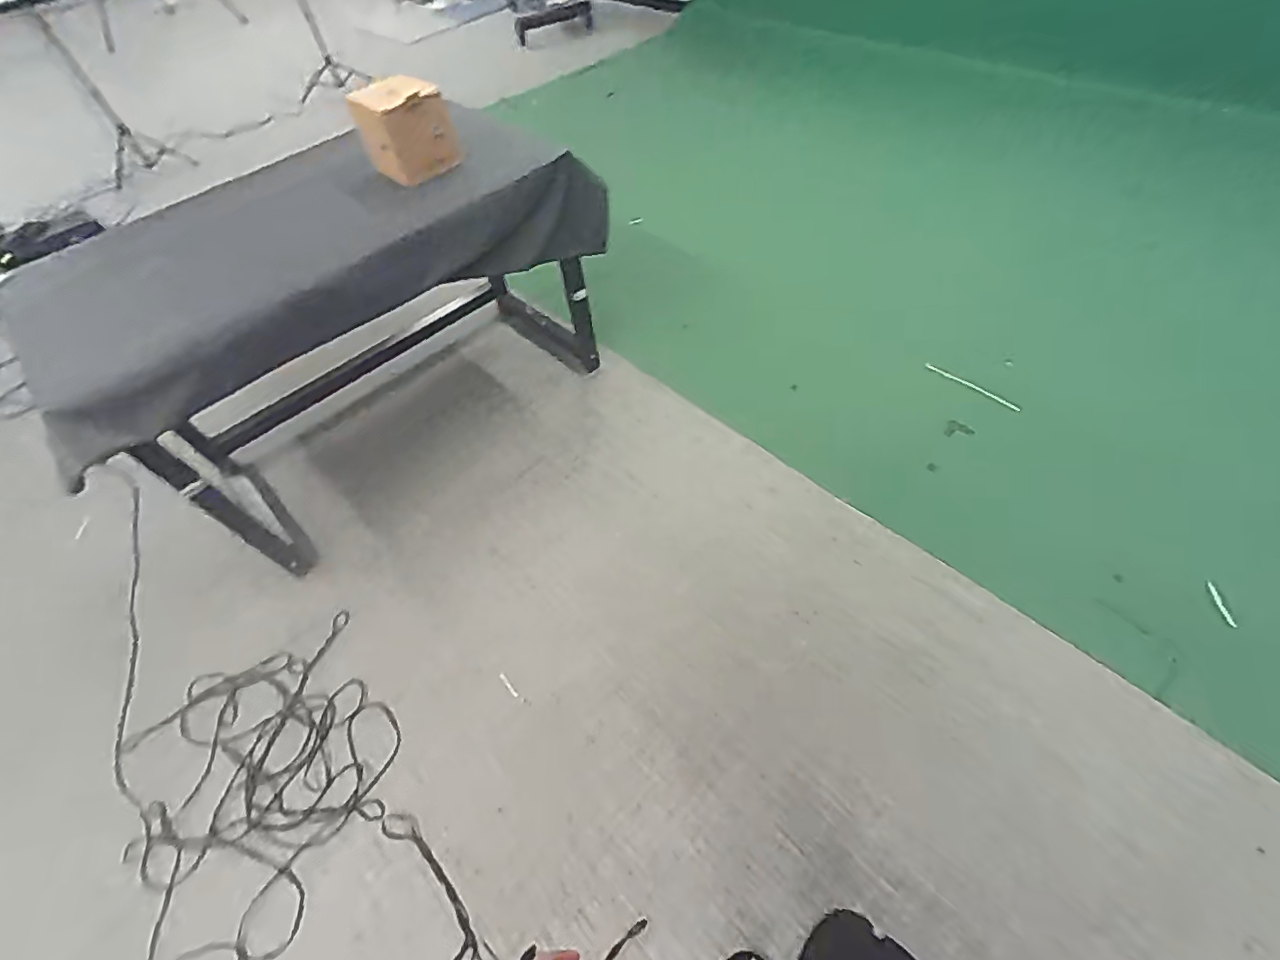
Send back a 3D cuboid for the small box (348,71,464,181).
[{"bbox_3d":[-0.562,-0.860,1.322,0.179,0.176,0.168,36,64,28],"label":"small box"}]
